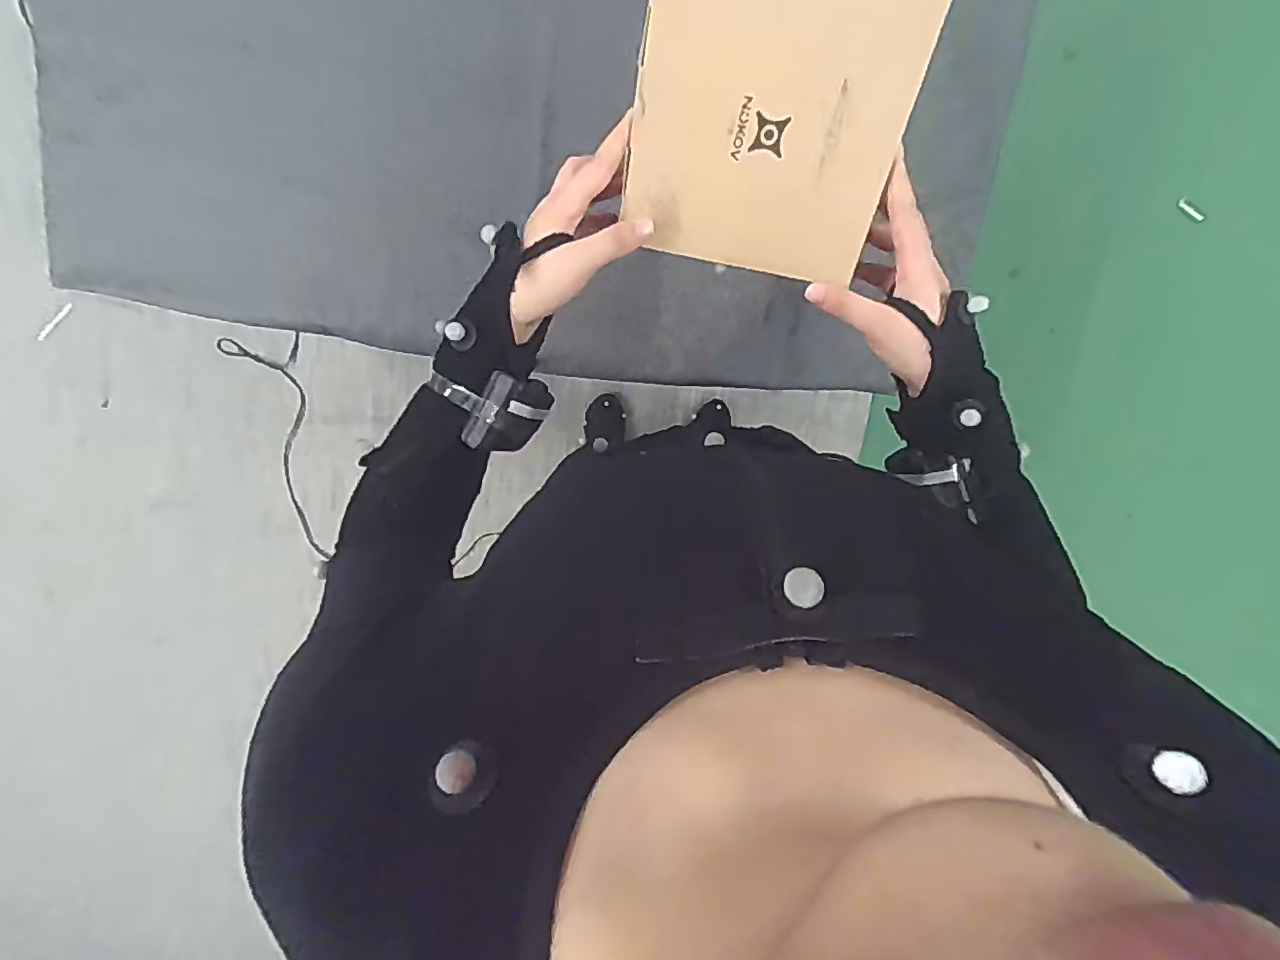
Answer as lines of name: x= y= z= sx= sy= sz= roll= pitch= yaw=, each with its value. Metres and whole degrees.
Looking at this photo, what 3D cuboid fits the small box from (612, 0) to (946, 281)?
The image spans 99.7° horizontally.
small box: x=0.085 y=-0.265 z=0.411 sx=0.179 sy=0.176 sz=0.168 roll=10 pitch=122 yaw=0
